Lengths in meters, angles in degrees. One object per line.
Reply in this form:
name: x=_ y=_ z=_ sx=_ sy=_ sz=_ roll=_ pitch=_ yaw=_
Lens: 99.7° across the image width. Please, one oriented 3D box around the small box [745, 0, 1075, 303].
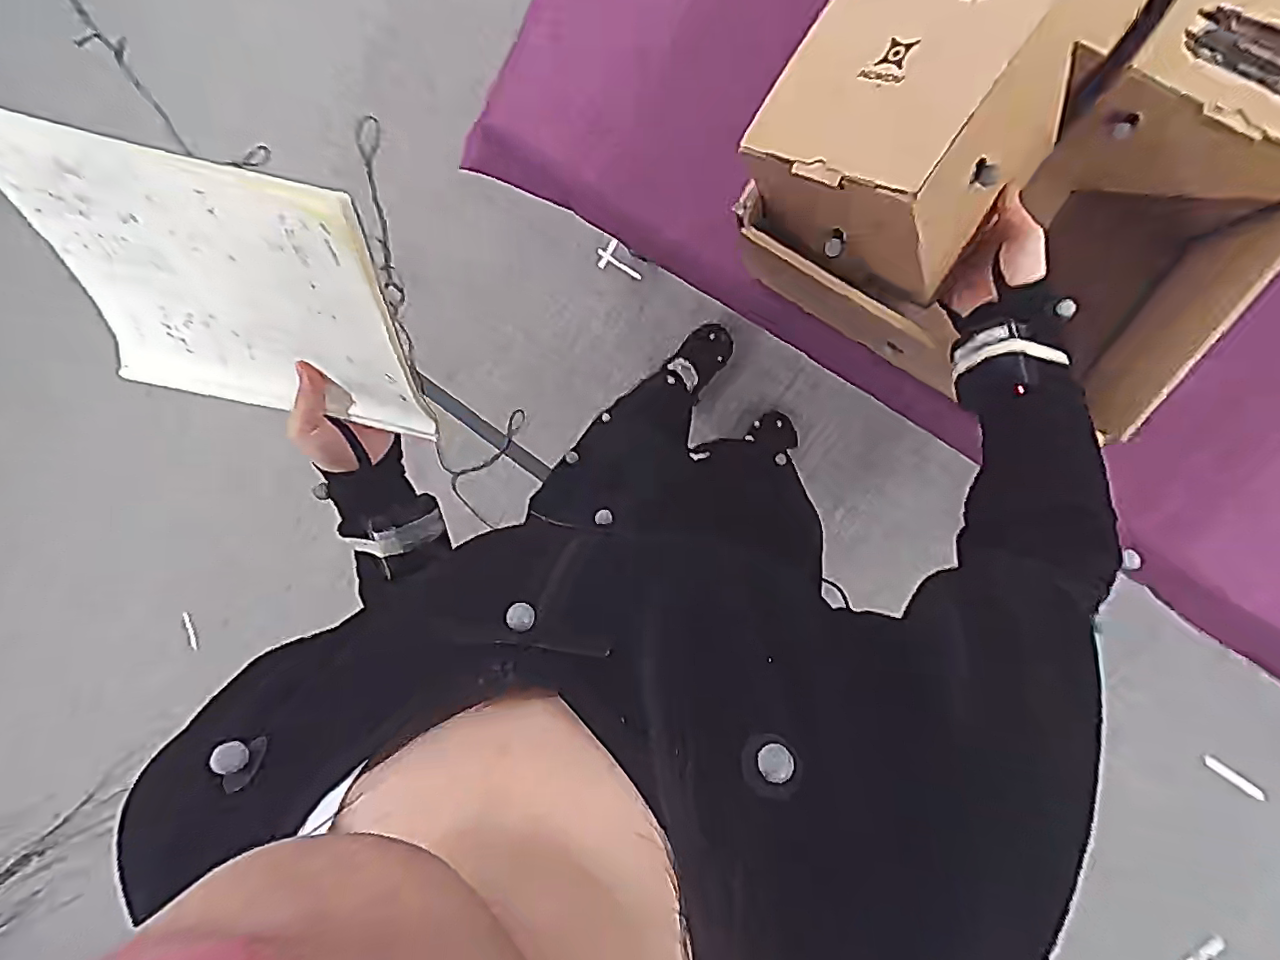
small box: x=0.229 y=-0.284 z=0.469 sx=0.168 sy=0.176 sz=0.179 roll=40 pitch=103 yaw=31
